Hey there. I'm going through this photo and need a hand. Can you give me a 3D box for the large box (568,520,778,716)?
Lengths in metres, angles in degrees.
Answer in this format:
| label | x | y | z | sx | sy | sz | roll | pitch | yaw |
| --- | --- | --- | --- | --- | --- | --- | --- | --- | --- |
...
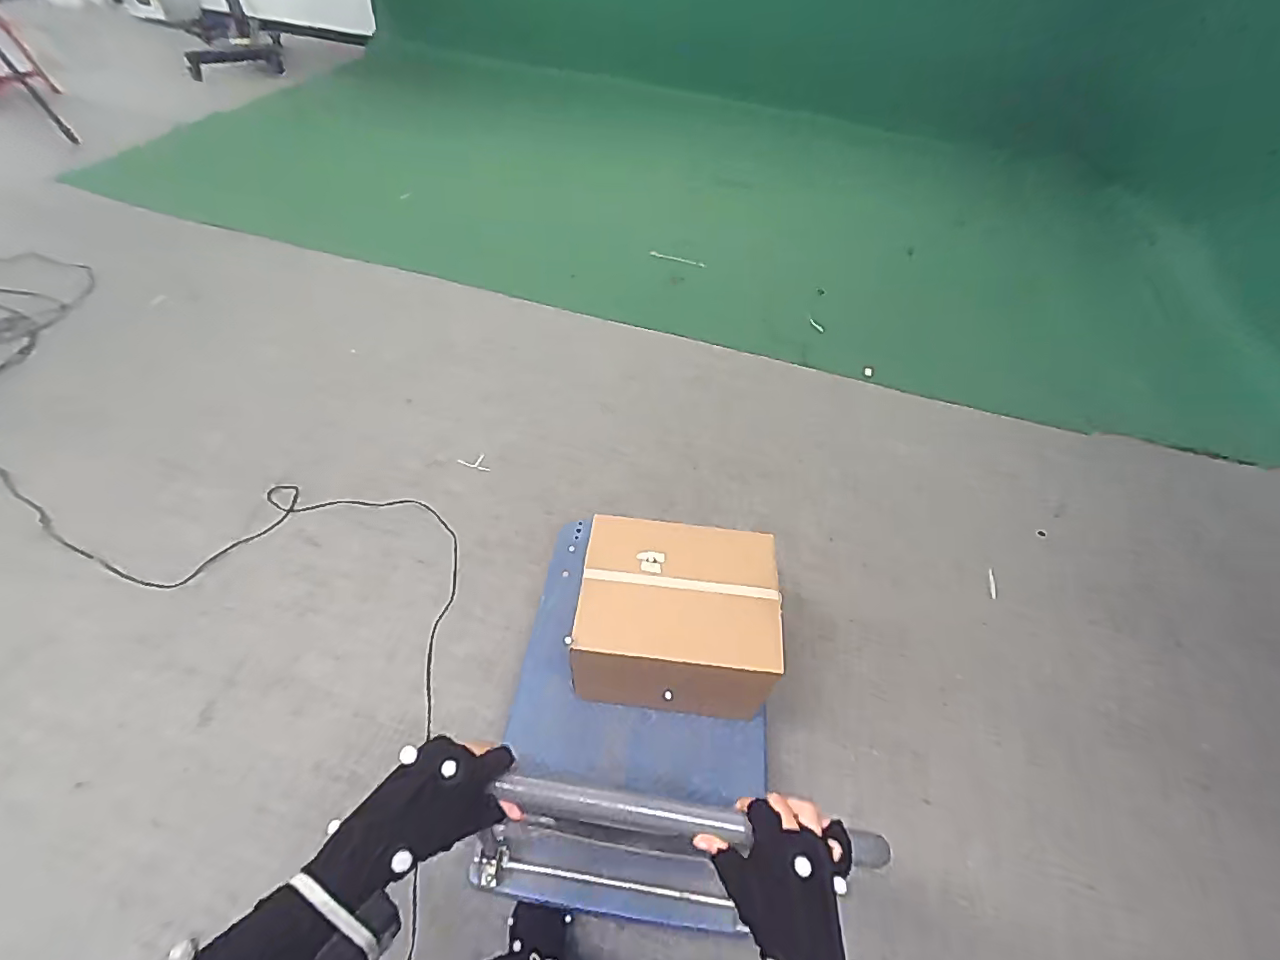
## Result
| label | x | y | z | sx | sy | sz | roll | pitch | yaw |
| --- | --- | --- | --- | --- | --- | --- | --- | --- | --- |
| large box | 0.071 | 0.318 | 1.221 | 0.408 | 0.320 | 0.320 | 6 | 50 | 2 |
